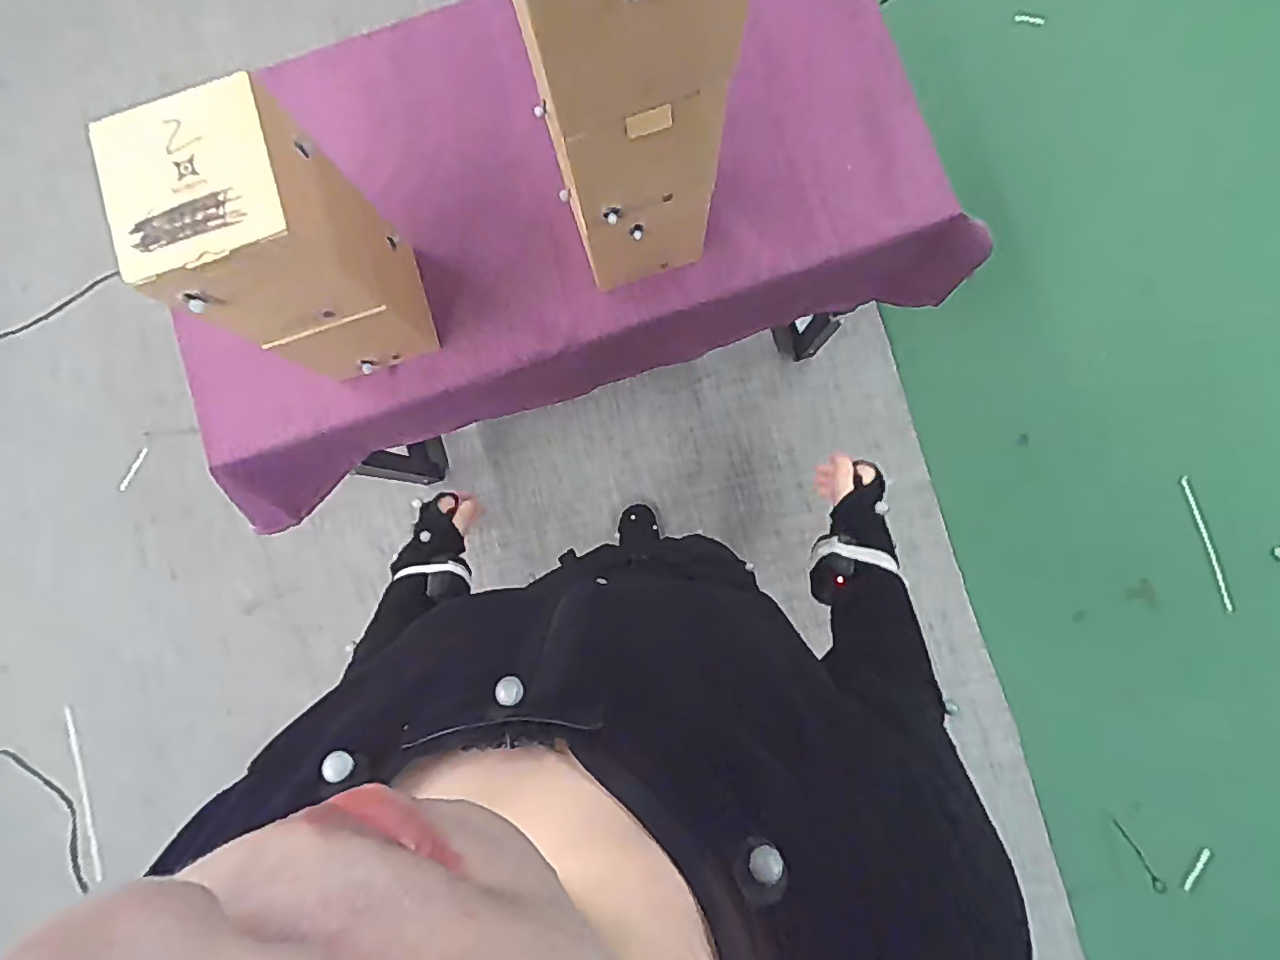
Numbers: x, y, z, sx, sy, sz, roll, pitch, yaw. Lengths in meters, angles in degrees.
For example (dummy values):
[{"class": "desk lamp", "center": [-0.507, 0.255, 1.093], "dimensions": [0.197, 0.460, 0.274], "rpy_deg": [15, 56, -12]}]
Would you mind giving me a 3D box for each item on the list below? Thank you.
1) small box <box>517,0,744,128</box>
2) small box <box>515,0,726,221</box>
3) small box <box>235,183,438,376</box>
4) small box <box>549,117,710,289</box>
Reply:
[{"class": "small box", "center": [-0.019, -0.422, 0.423], "dimensions": [0.179, 0.176, 0.168], "rpy_deg": [-18, 86, 0]}, {"class": "small box", "center": [-0.016, -0.414, 0.588], "dimensions": [0.168, 0.176, 0.179], "rpy_deg": [-19, 85, 1]}, {"class": "small box", "center": [-0.410, -0.267, 0.757], "dimensions": [0.168, 0.176, 0.179], "rpy_deg": [-17, 86, 1]}, {"class": "small box", "center": [-0.011, -0.400, 0.752], "dimensions": [0.168, 0.176, 0.179], "rpy_deg": [-18, 84, 2]}]
